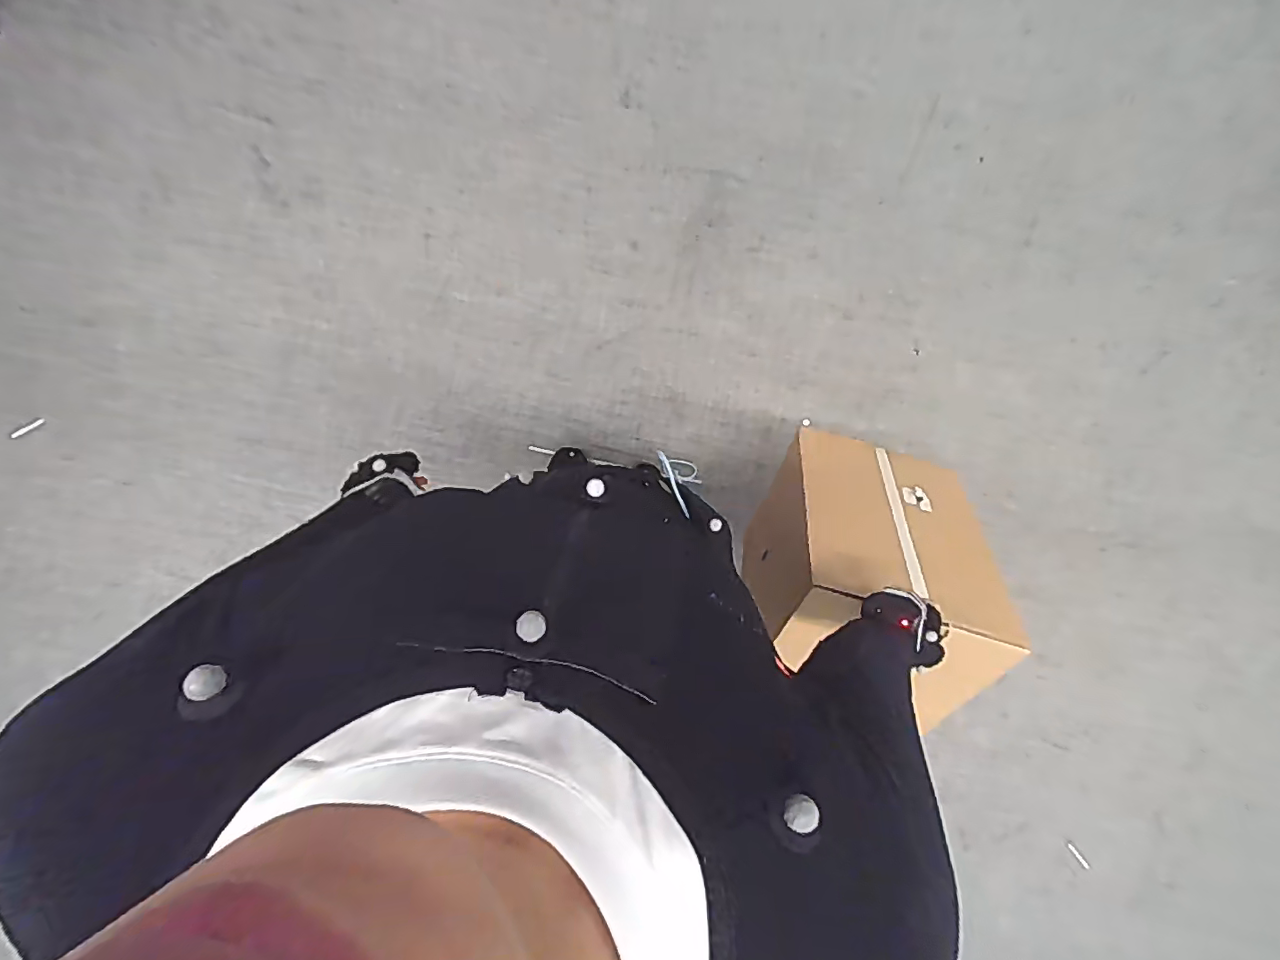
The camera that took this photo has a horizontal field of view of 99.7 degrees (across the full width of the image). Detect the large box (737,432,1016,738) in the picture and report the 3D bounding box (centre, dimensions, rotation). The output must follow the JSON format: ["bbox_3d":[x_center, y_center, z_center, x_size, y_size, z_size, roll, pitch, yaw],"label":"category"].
[{"bbox_3d":[0.375,0.179,0.989,0.320,0.408,0.320,18,128,-1],"label":"large box"}]
